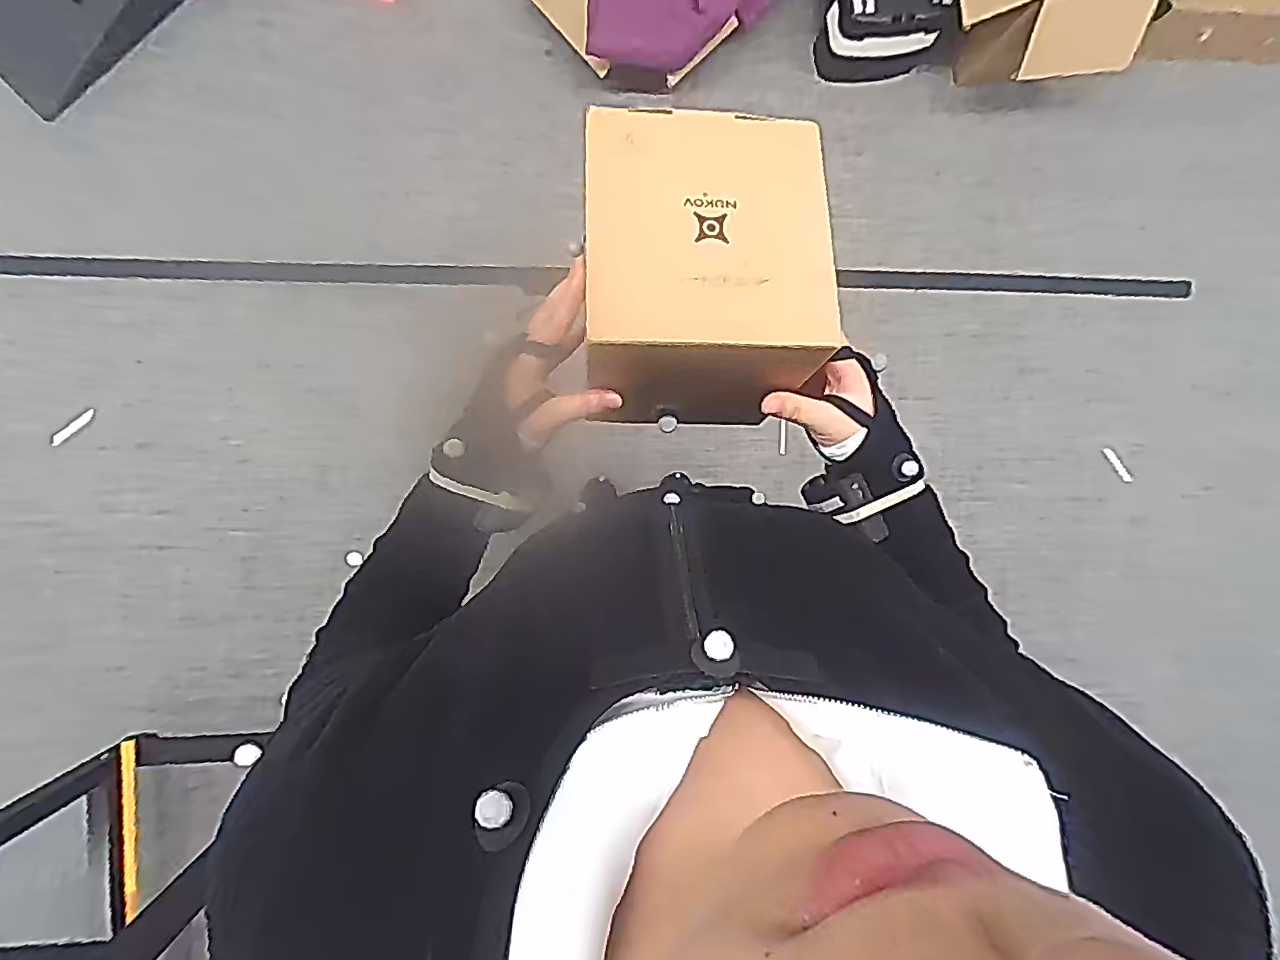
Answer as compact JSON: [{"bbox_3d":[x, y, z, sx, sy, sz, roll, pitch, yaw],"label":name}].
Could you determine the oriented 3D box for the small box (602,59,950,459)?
[{"bbox_3d":[0.062,-0.119,0.353,0.168,0.176,0.179,0,79,-6],"label":"small box"}]
